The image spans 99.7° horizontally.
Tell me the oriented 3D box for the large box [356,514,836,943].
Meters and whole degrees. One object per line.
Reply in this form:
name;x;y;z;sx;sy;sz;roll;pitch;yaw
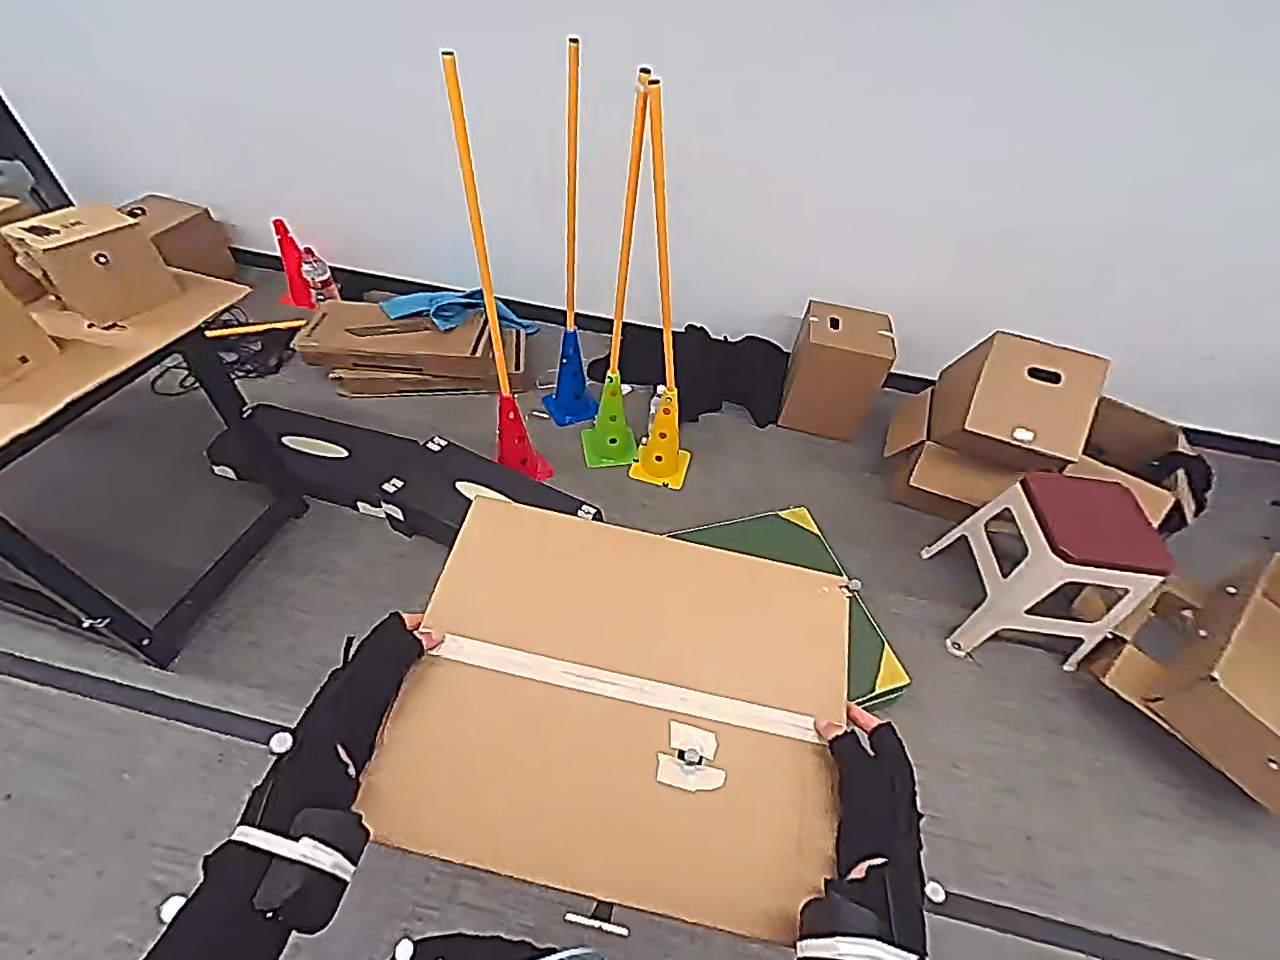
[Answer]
large box;-0.026;0.276;0.637;0.408;0.320;0.320;12;61;1
